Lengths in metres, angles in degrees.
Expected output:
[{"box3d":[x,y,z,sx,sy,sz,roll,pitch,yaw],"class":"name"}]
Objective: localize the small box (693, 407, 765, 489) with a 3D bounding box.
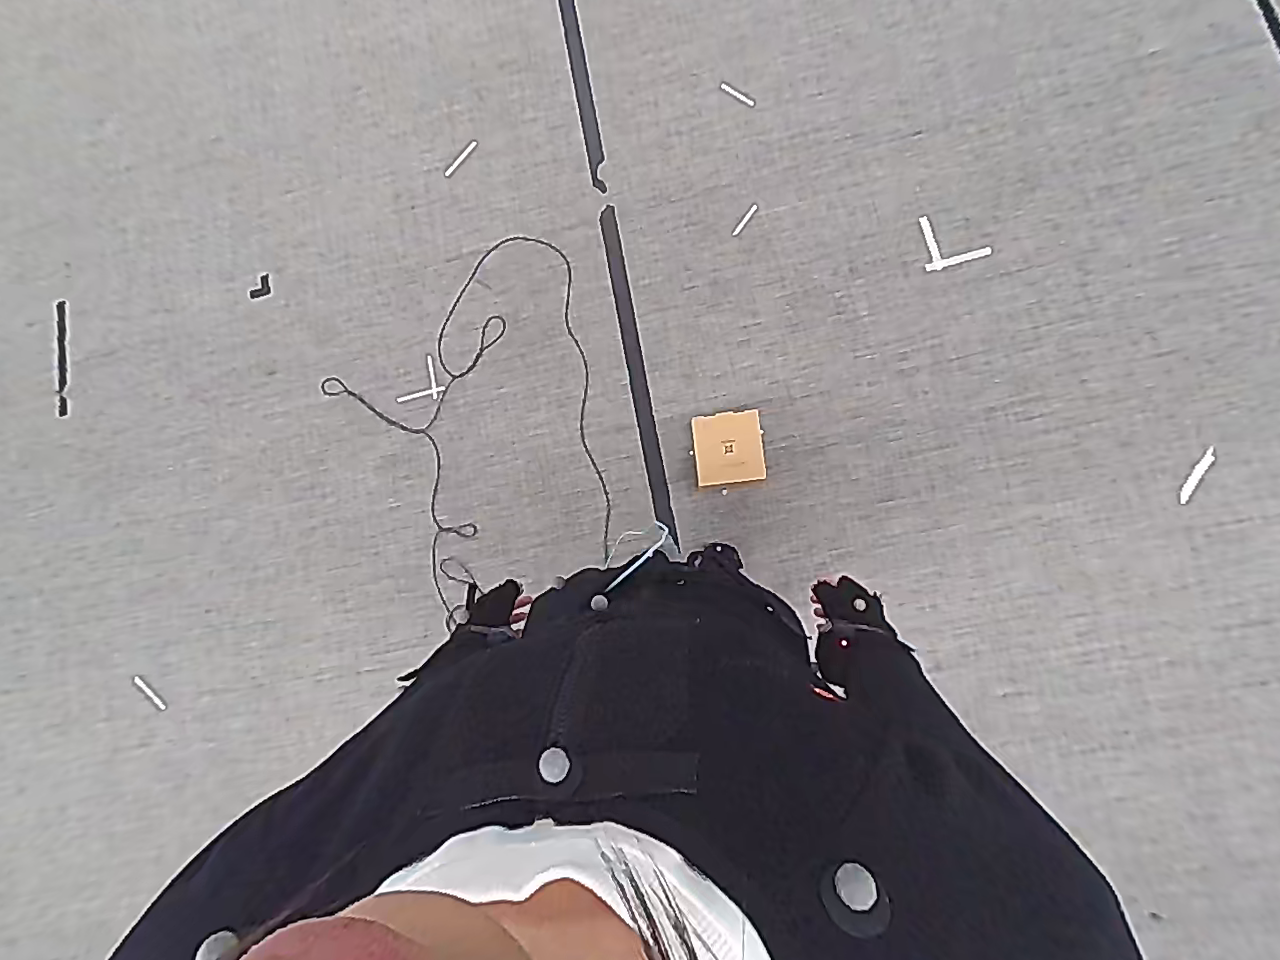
[{"box3d":[0.226,-0.077,1.409,0.168,0.176,0.179,-6,83,7],"class":"small box"}]
